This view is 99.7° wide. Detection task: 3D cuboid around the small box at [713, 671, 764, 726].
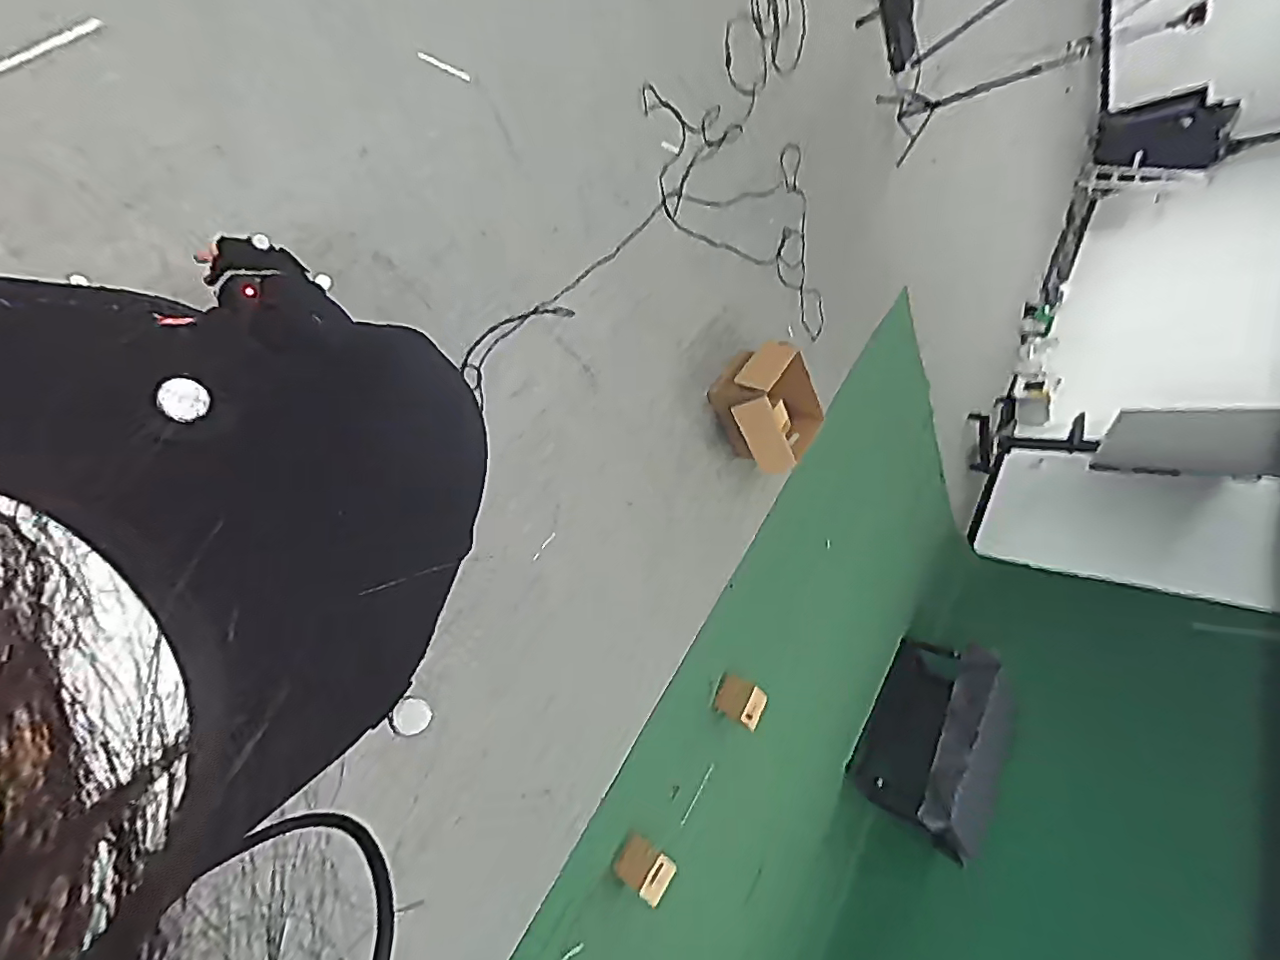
[{"bbox_3d":[0.486,1.087,2.698,0.179,0.176,0.168,-57,131,-23],"label":"small box"}]
